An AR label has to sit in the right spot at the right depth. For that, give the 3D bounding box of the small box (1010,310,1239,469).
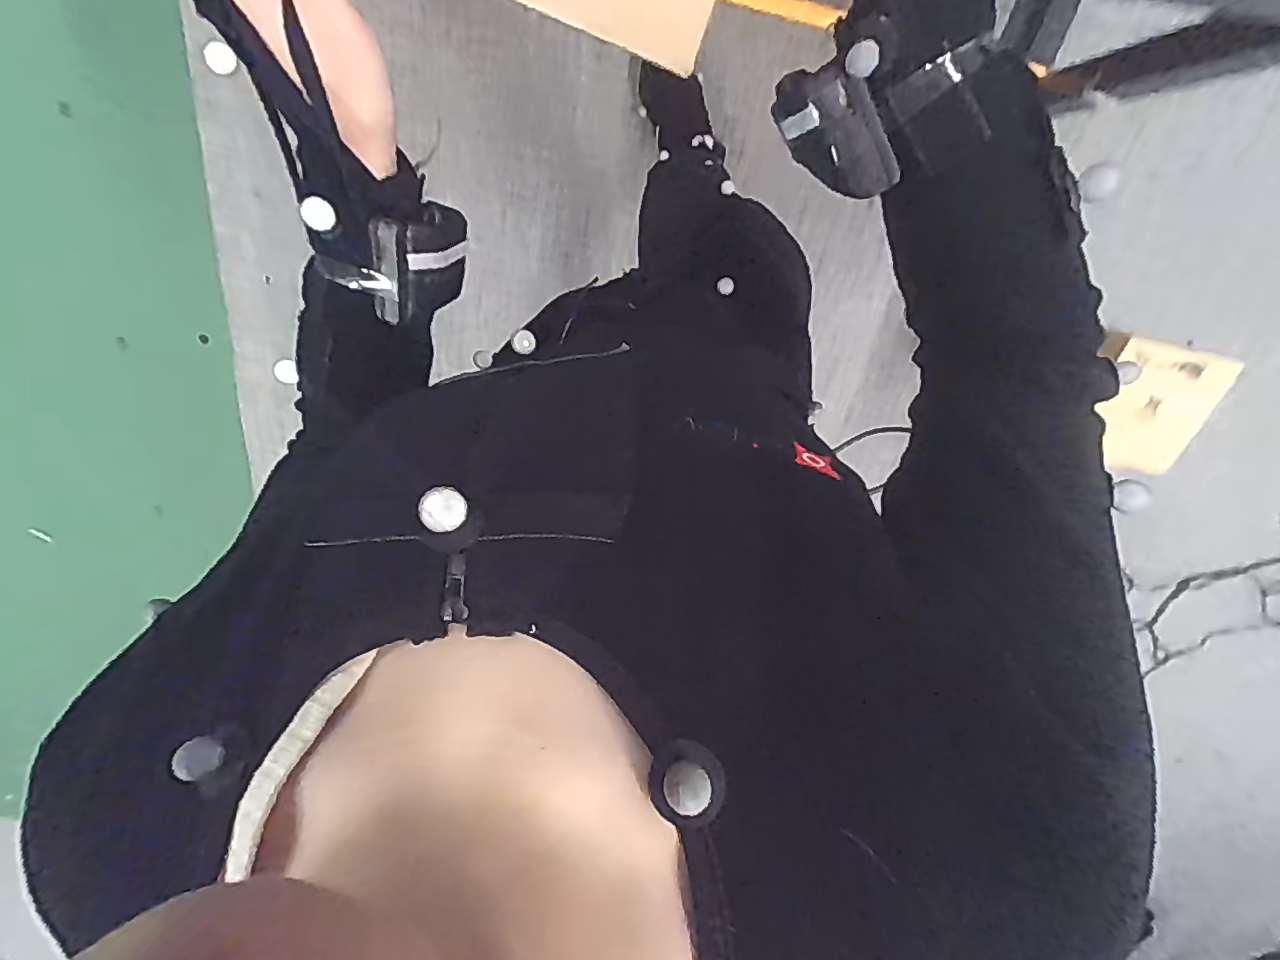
[{"bbox_3d":[0.721,-0.145,0.837,0.168,0.176,0.179,12,118,-3],"label":"small box"}]
